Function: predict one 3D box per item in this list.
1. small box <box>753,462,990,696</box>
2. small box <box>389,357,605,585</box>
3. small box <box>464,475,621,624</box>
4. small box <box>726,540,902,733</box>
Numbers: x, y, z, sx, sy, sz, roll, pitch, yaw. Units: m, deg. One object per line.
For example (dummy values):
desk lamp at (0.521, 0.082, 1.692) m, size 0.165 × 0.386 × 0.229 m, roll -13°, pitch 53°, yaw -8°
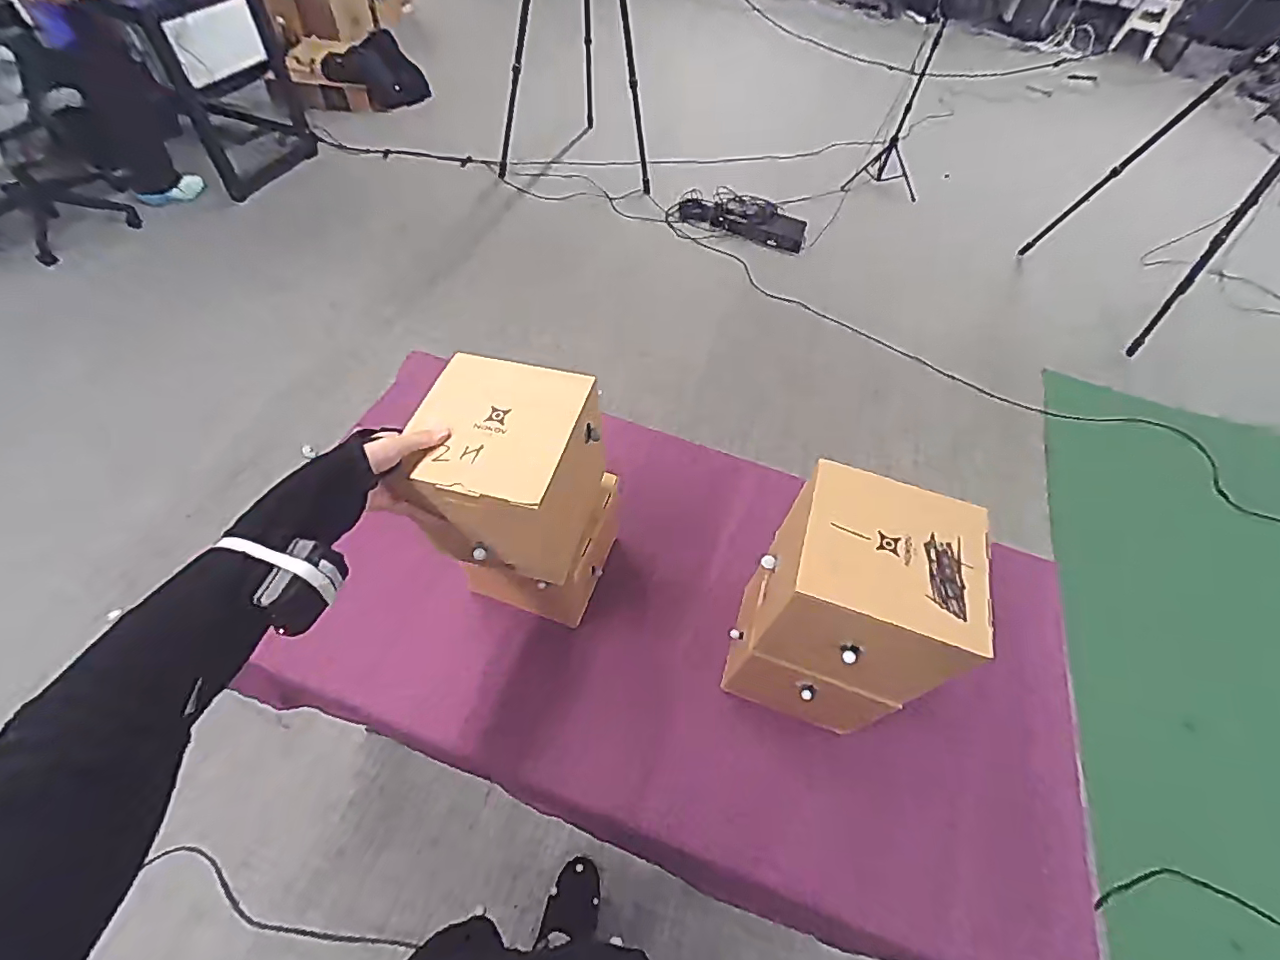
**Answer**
small box at (0.239, 0.114, 0.583) m, size 0.179 × 0.176 × 0.168 m, roll 18°, pitch 55°, yaw 8°
small box at (-0.142, -0.008, 0.618) m, size 0.168 × 0.176 × 0.179 m, roll 12°, pitch 55°, yaw 10°
small box at (-0.140, 0.083, 0.773) m, size 0.179 × 0.176 × 0.168 m, roll 18°, pitch 54°, yaw 6°
small box at (0.226, 0.211, 0.714) m, size 0.179 × 0.176 × 0.168 m, roll 19°, pitch 55°, yaw 8°
